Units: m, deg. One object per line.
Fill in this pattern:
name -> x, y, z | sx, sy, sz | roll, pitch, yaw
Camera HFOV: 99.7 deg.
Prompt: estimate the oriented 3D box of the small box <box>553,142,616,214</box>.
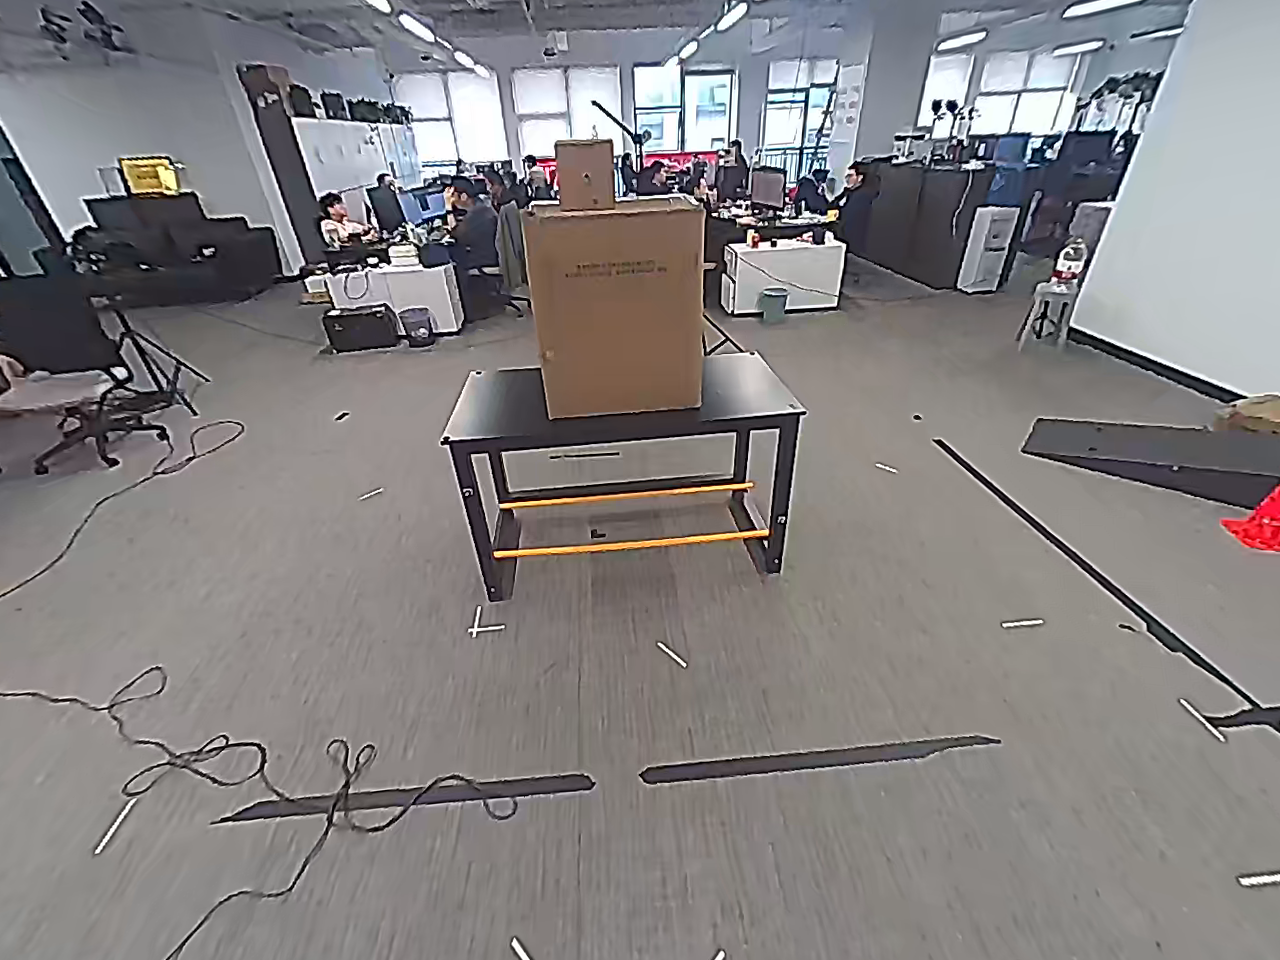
small box -> -0.160, -0.889, 1.596 | 0.168, 0.176, 0.179 | -4, 35, -3
